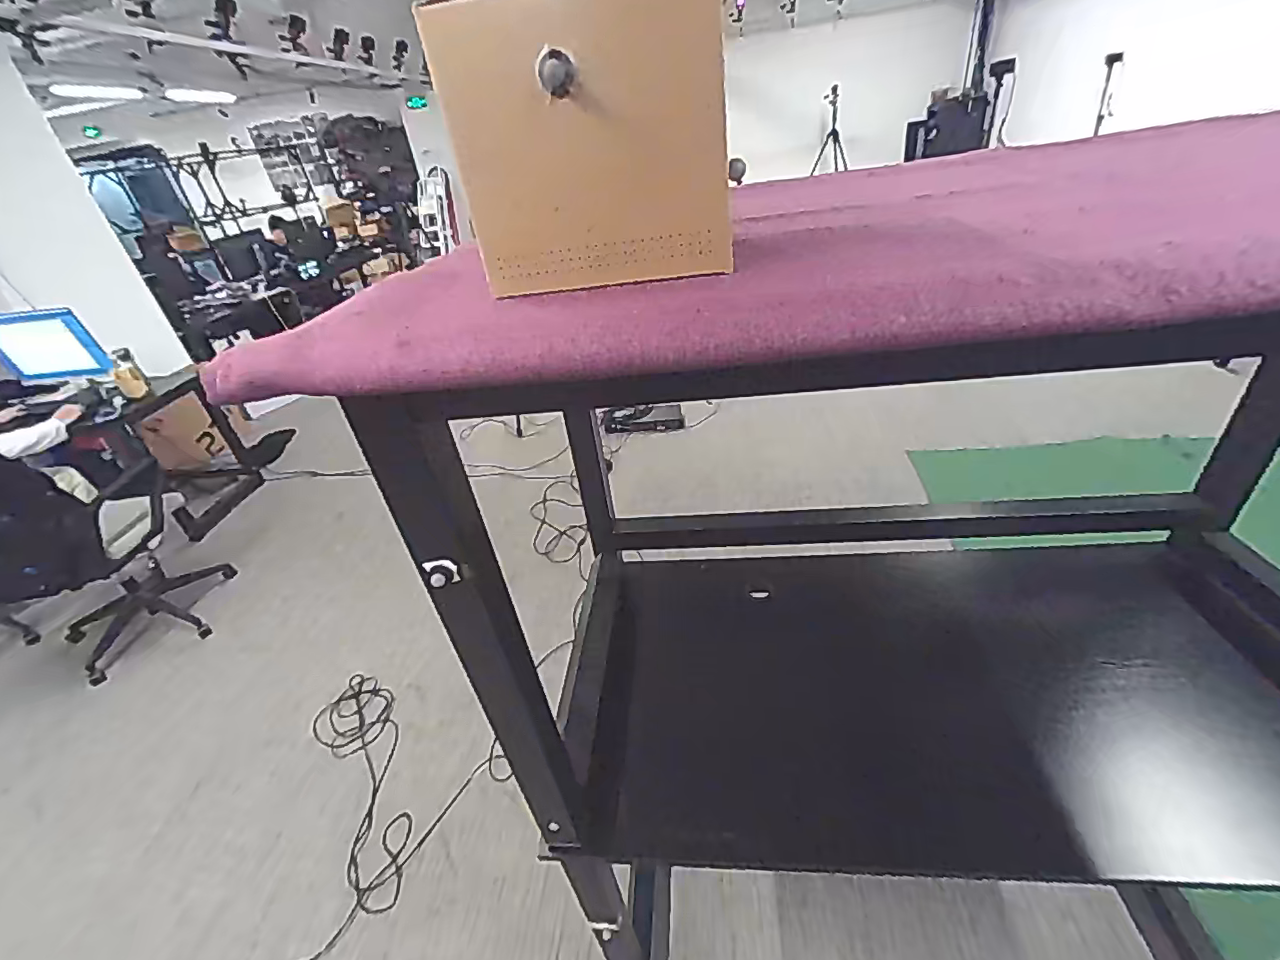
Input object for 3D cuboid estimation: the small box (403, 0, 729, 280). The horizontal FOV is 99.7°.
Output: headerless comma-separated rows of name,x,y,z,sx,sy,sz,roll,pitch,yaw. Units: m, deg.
small box,-0.031,-0.254,0.393,0.179,0.176,0.168,-4,35,8
